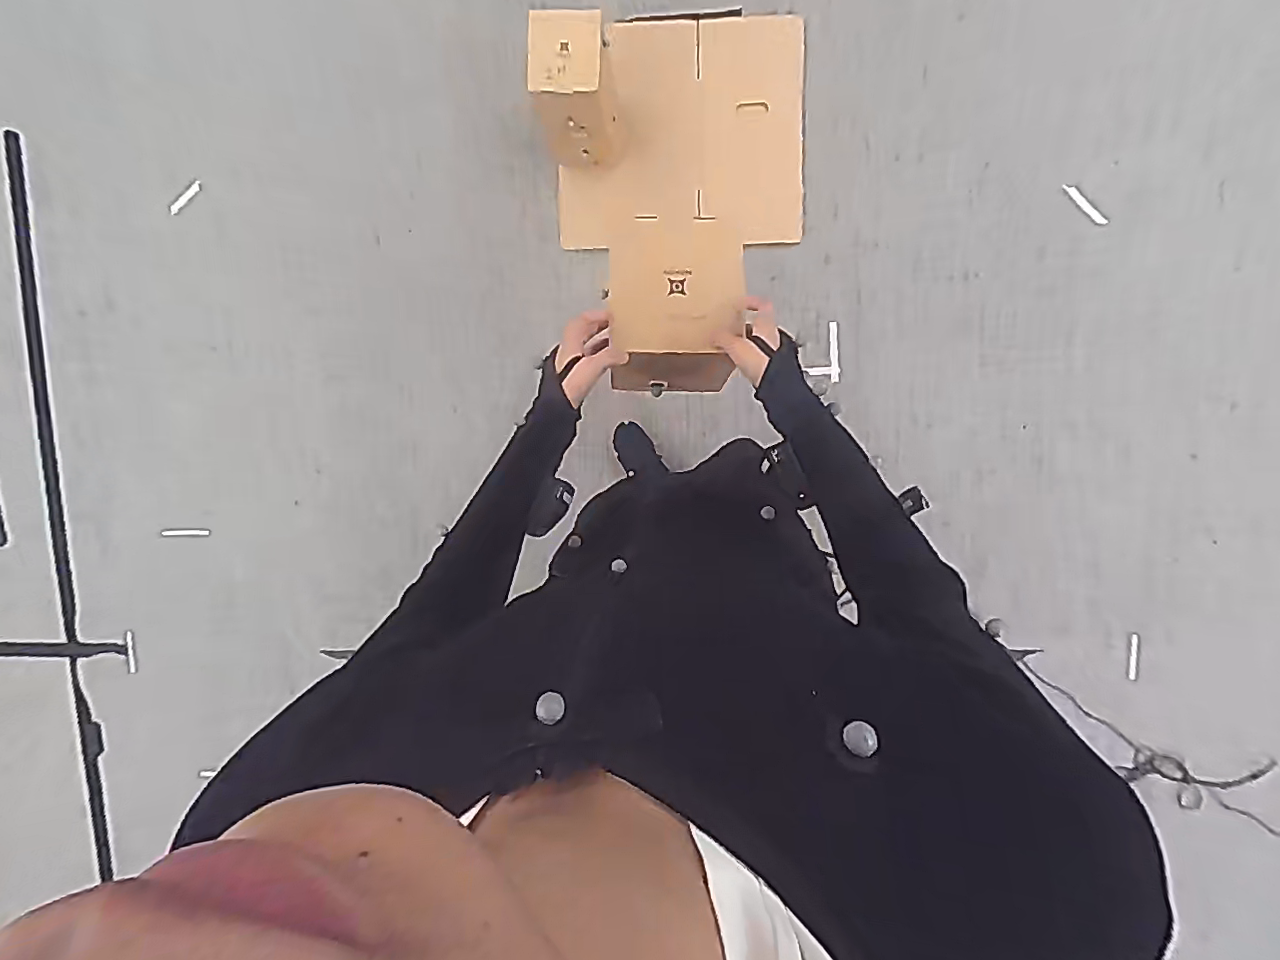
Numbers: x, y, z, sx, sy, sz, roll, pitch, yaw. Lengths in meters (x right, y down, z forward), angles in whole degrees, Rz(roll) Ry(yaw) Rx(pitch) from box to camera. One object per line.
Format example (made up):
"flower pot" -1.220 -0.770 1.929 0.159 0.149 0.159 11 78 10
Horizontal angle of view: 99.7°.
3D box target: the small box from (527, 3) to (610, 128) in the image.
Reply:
"small box" -0.163 -0.970 1.276 0.168 0.176 0.179 3 96 3

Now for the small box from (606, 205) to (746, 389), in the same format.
"small box" 0.039 -0.230 0.714 0.168 0.176 0.179 1 84 -2
